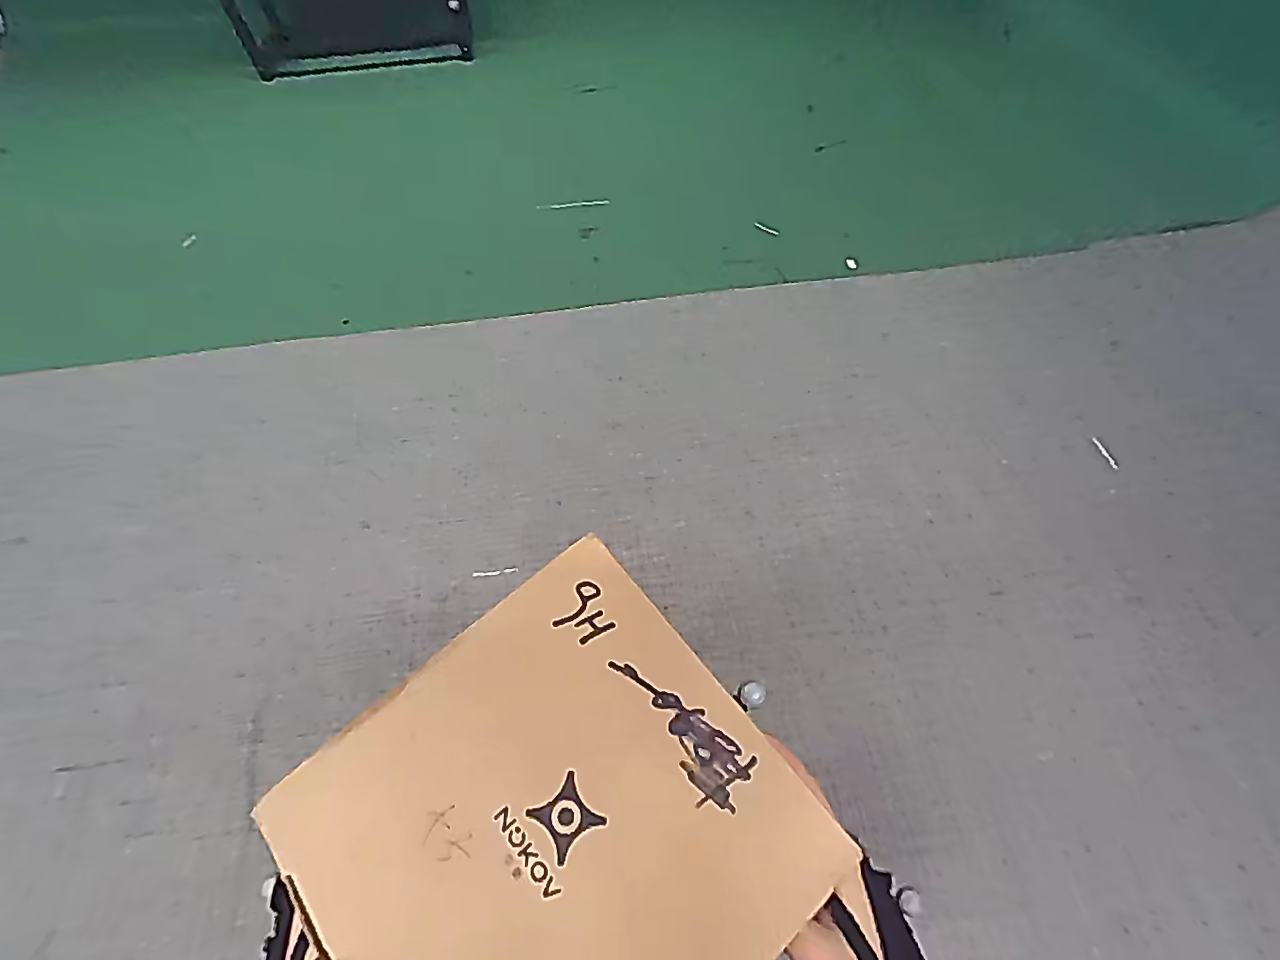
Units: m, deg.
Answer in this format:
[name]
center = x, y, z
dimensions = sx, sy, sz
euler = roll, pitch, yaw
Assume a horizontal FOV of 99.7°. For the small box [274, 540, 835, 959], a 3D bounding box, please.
[small box]
center = -0.033, 0.165, 0.292
dimensions = 0.179, 0.176, 0.168
euler = -40, 73, -11
